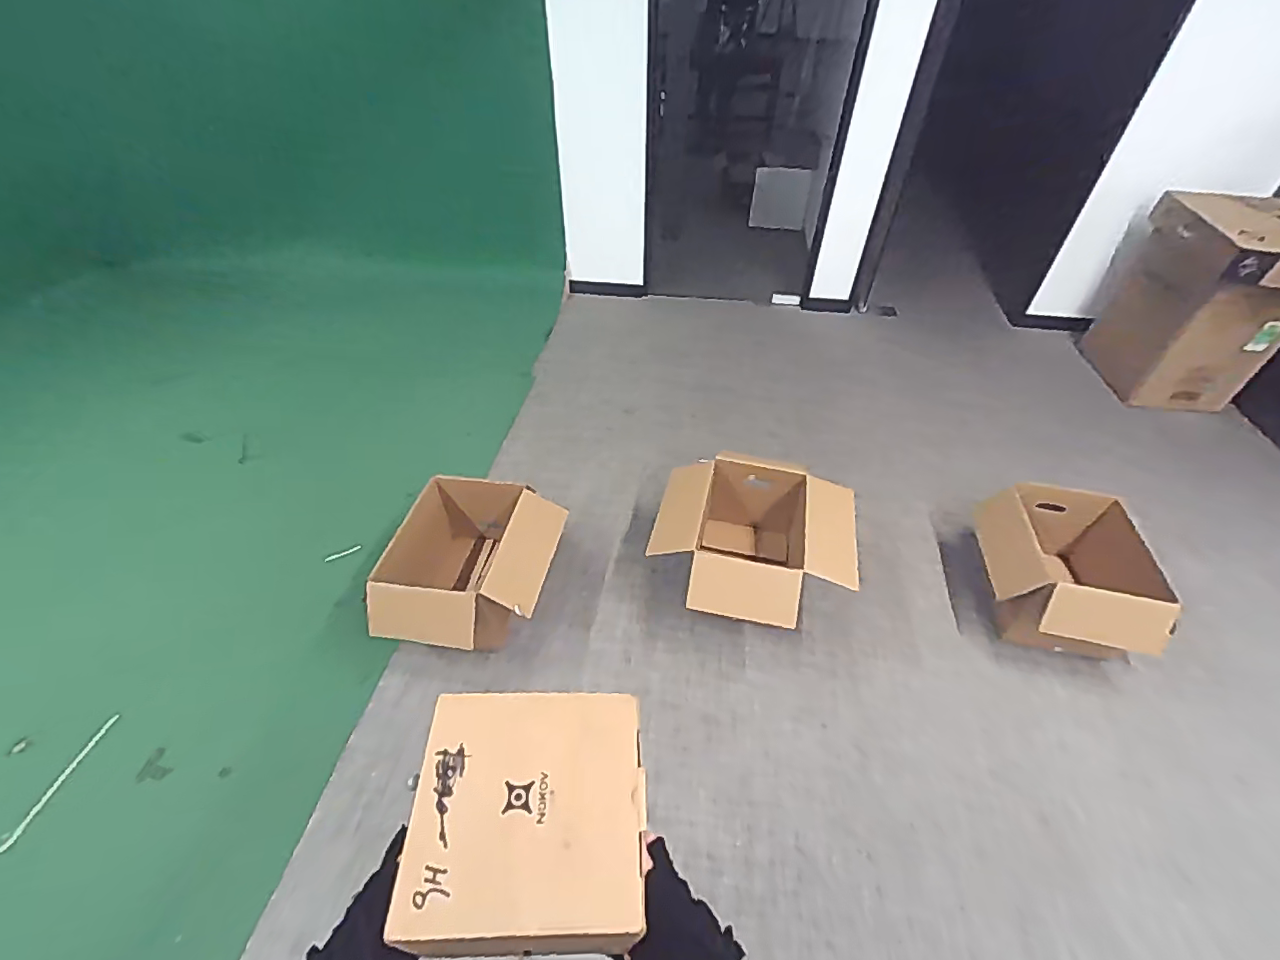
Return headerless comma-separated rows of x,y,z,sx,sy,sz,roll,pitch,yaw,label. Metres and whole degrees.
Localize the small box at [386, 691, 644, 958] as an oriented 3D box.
-0.094,0.306,0.480,0.179,0.176,0.168,4,44,-5,small box
